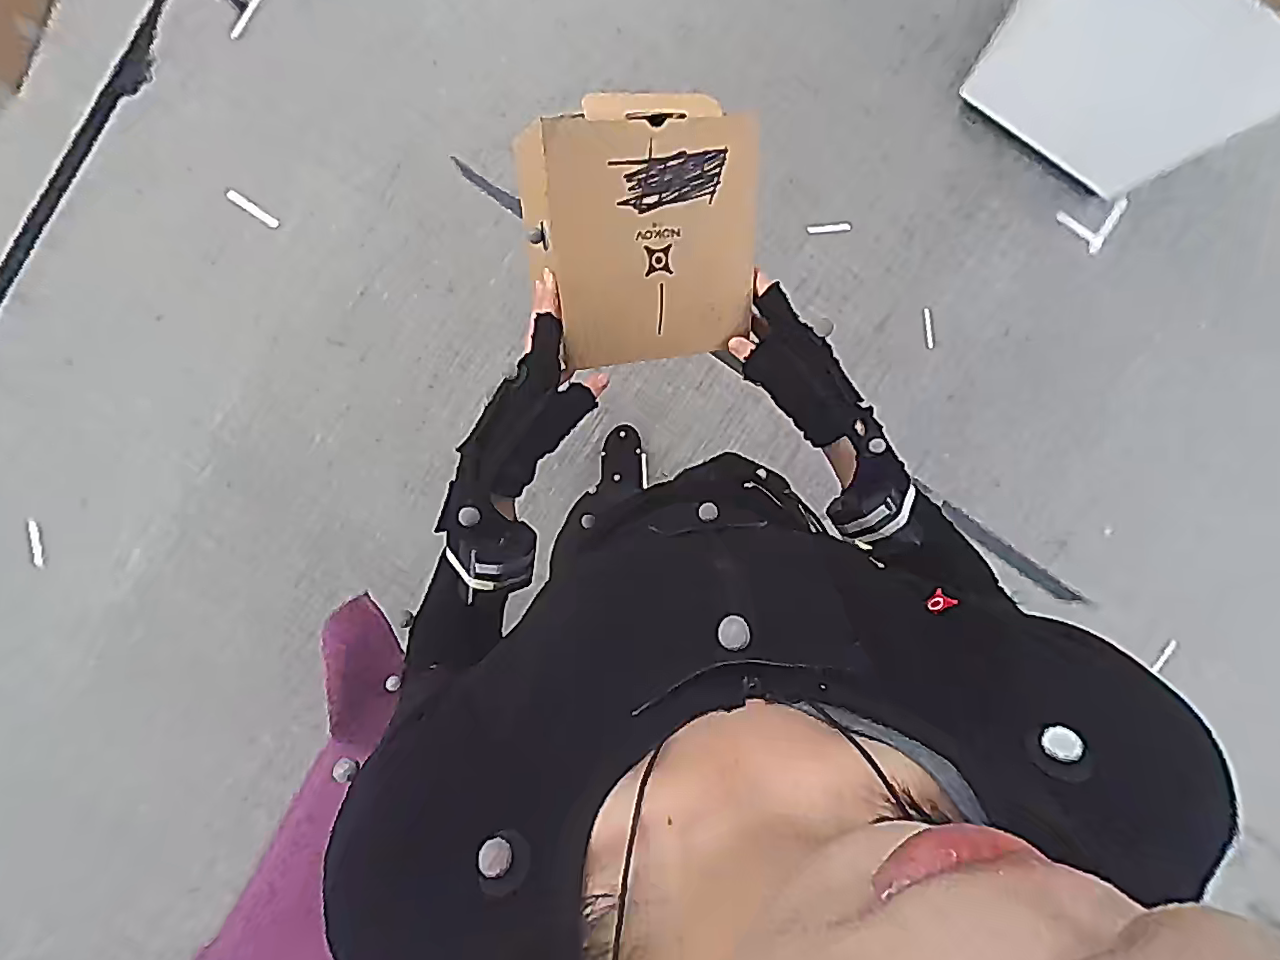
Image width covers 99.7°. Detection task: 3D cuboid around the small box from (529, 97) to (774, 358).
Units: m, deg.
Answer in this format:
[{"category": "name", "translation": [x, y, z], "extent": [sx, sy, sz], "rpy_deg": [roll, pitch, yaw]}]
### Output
[{"category": "small box", "translation": [0.000, -0.222, 0.481], "extent": [0.168, 0.176, 0.179], "rpy_deg": [-10, 119, -14]}]
